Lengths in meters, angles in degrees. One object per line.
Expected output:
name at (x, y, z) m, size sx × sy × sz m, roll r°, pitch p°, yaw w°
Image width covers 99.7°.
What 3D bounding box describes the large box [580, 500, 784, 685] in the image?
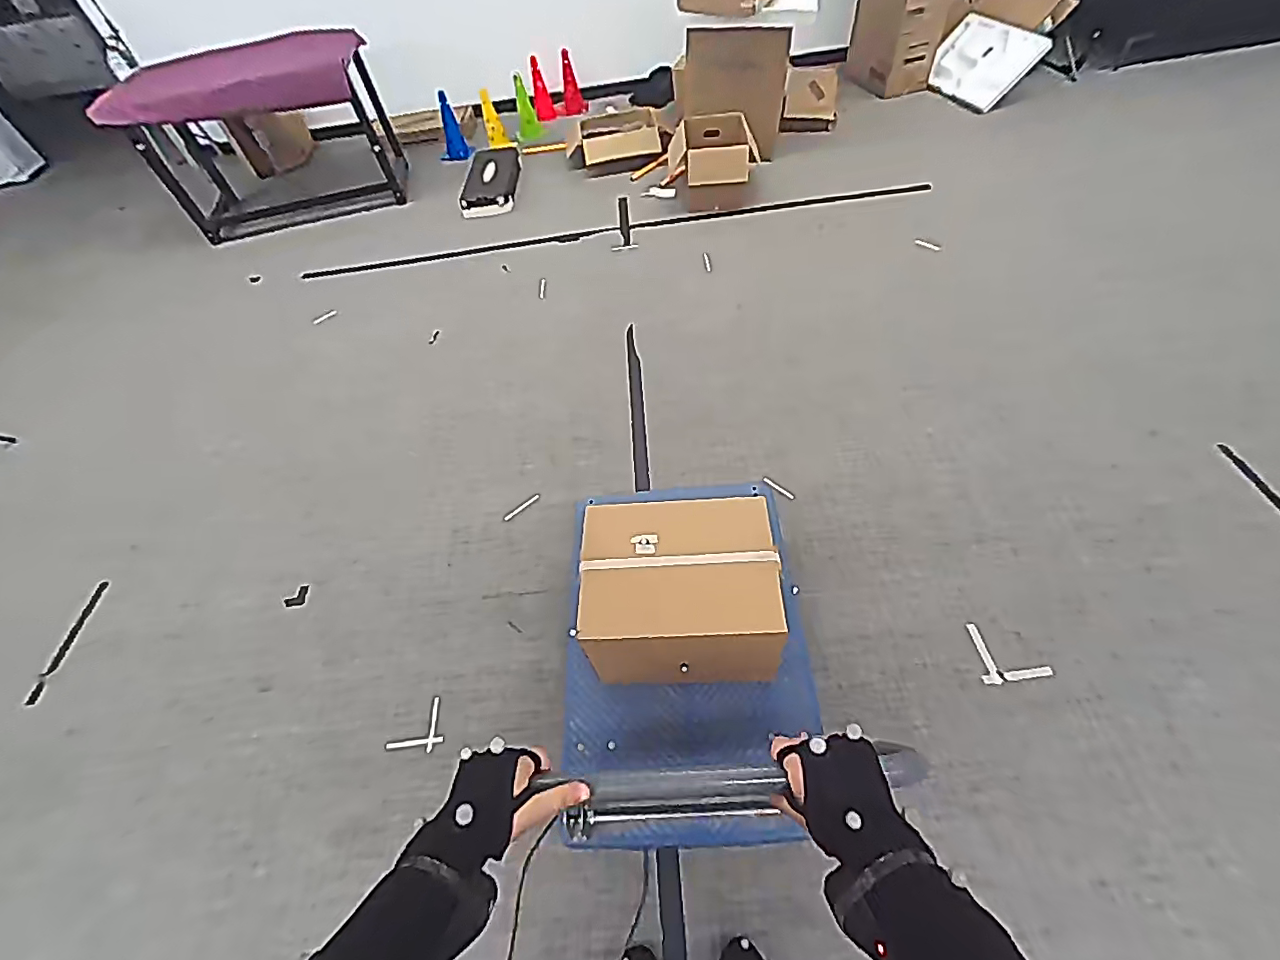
large box at (0.096, 0.270, 1.251) m, size 0.408 × 0.320 × 0.320 m, roll -4°, pitch 52°, yaw 5°
